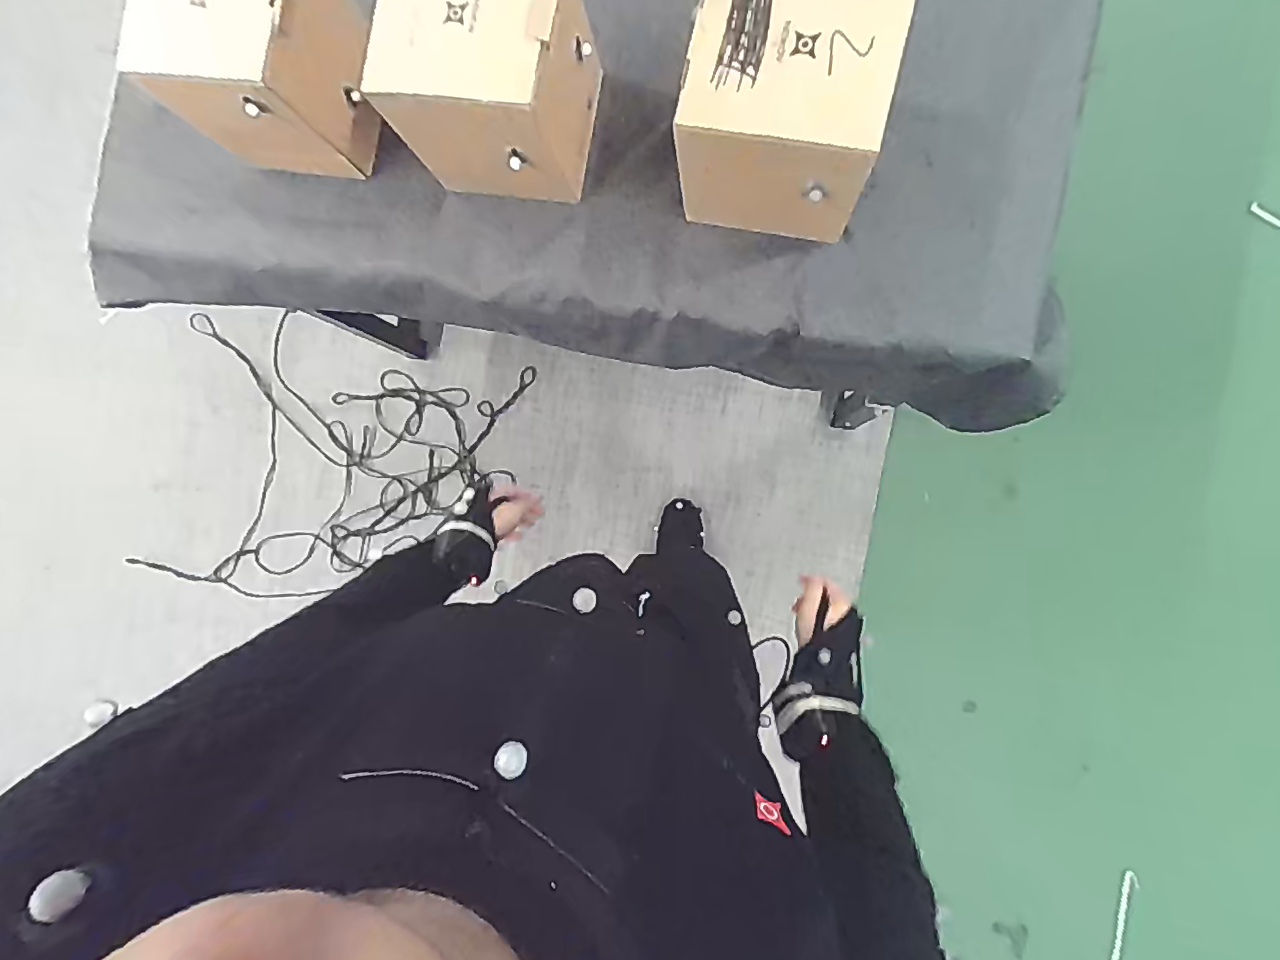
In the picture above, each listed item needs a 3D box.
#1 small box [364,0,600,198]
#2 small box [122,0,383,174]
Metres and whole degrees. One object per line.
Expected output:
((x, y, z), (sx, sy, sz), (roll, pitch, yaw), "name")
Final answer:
((-0.152, -0.430, 0.581), (0.179, 0.176, 0.168), (10, 88, 10), "small box")
((-0.425, -0.484, 0.625), (0.179, 0.176, 0.168), (10, 89, 8), "small box")
